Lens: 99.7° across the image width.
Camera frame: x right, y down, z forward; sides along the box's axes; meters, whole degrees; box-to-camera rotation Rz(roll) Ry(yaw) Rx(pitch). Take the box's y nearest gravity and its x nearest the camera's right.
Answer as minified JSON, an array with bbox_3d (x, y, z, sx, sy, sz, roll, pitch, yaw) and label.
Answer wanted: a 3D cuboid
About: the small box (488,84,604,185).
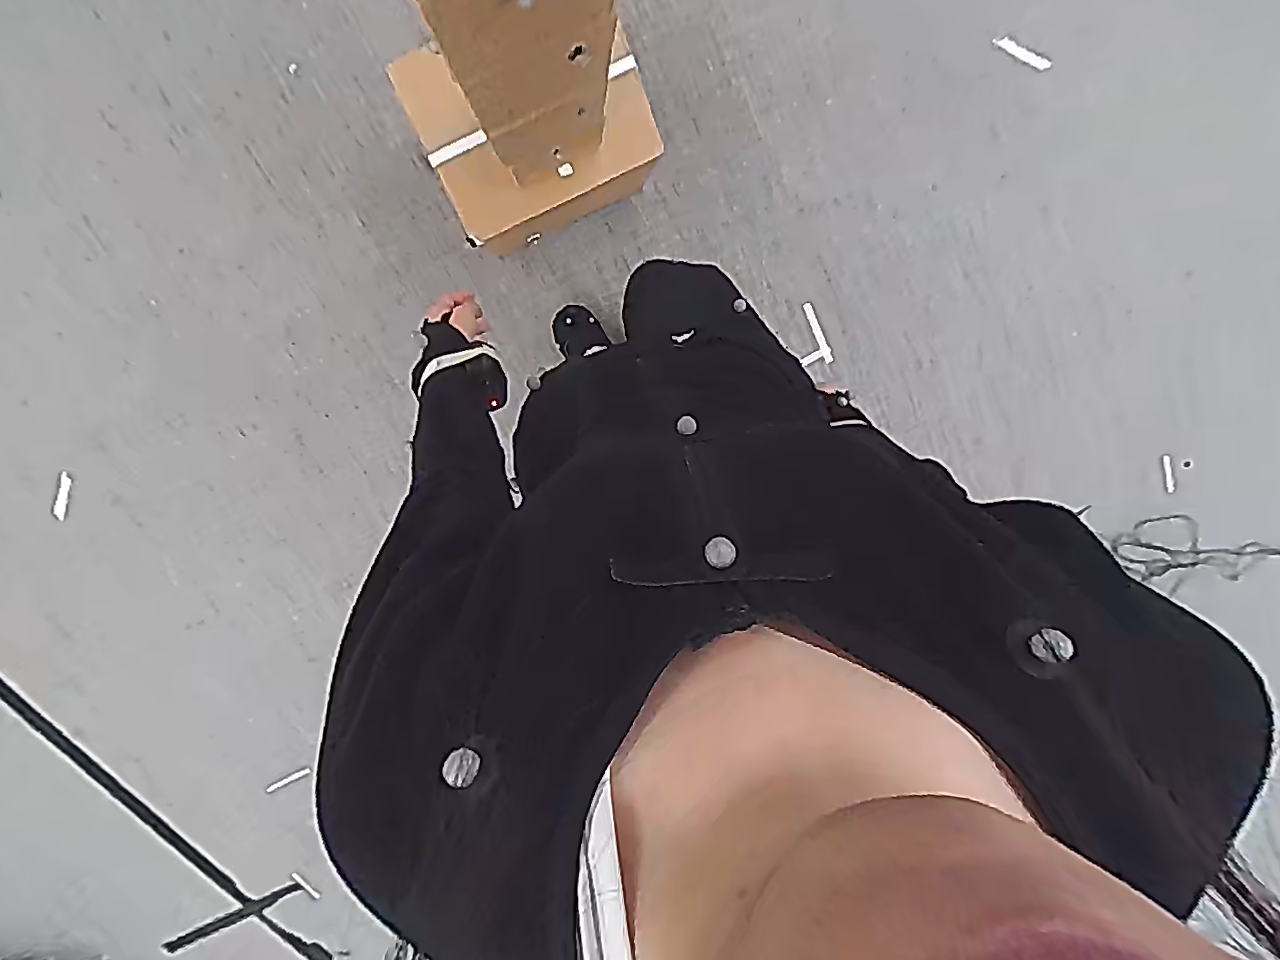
[{"bbox_3d":[-0.175,-0.622,0.897,0.179,0.176,0.168,-28,110,1],"label":"small box"}]

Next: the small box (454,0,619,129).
[{"bbox_3d":[-0.140,-0.521,0.586,0.179,0.176,0.168,-24,109,1],"label":"small box"}]

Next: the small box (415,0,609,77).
[{"bbox_3d":[-0.121,-0.471,0.433,0.179,0.176,0.168,-24,110,1],"label":"small box"}]
